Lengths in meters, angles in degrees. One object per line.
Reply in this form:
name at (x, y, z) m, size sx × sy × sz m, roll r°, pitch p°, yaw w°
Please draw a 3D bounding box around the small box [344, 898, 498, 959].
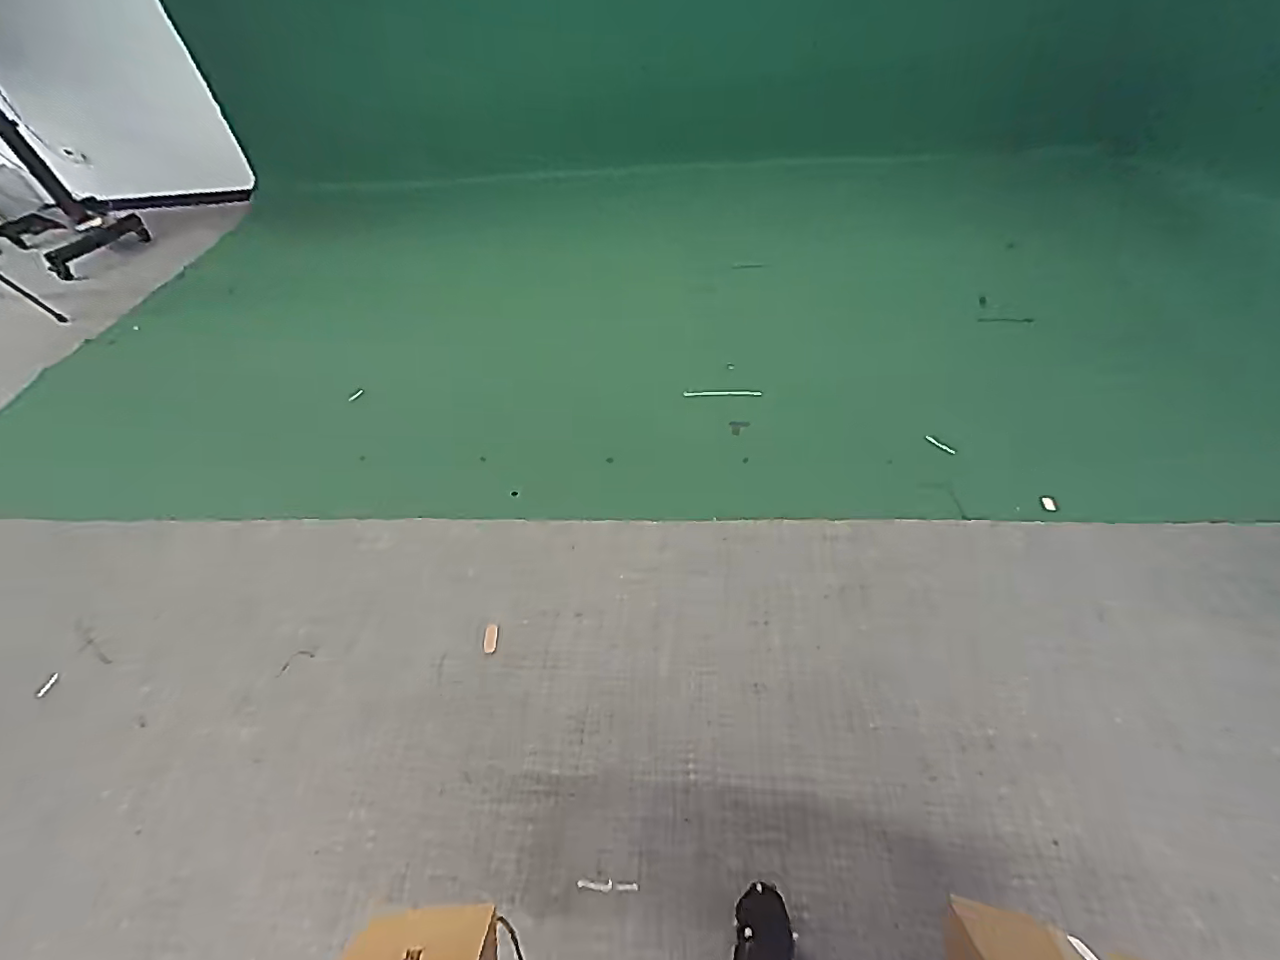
small box at (-0.264, 0.646, 0.636) m, size 0.168 × 0.179 × 0.176 m, roll -4°, pitch 86°, yaw -5°
